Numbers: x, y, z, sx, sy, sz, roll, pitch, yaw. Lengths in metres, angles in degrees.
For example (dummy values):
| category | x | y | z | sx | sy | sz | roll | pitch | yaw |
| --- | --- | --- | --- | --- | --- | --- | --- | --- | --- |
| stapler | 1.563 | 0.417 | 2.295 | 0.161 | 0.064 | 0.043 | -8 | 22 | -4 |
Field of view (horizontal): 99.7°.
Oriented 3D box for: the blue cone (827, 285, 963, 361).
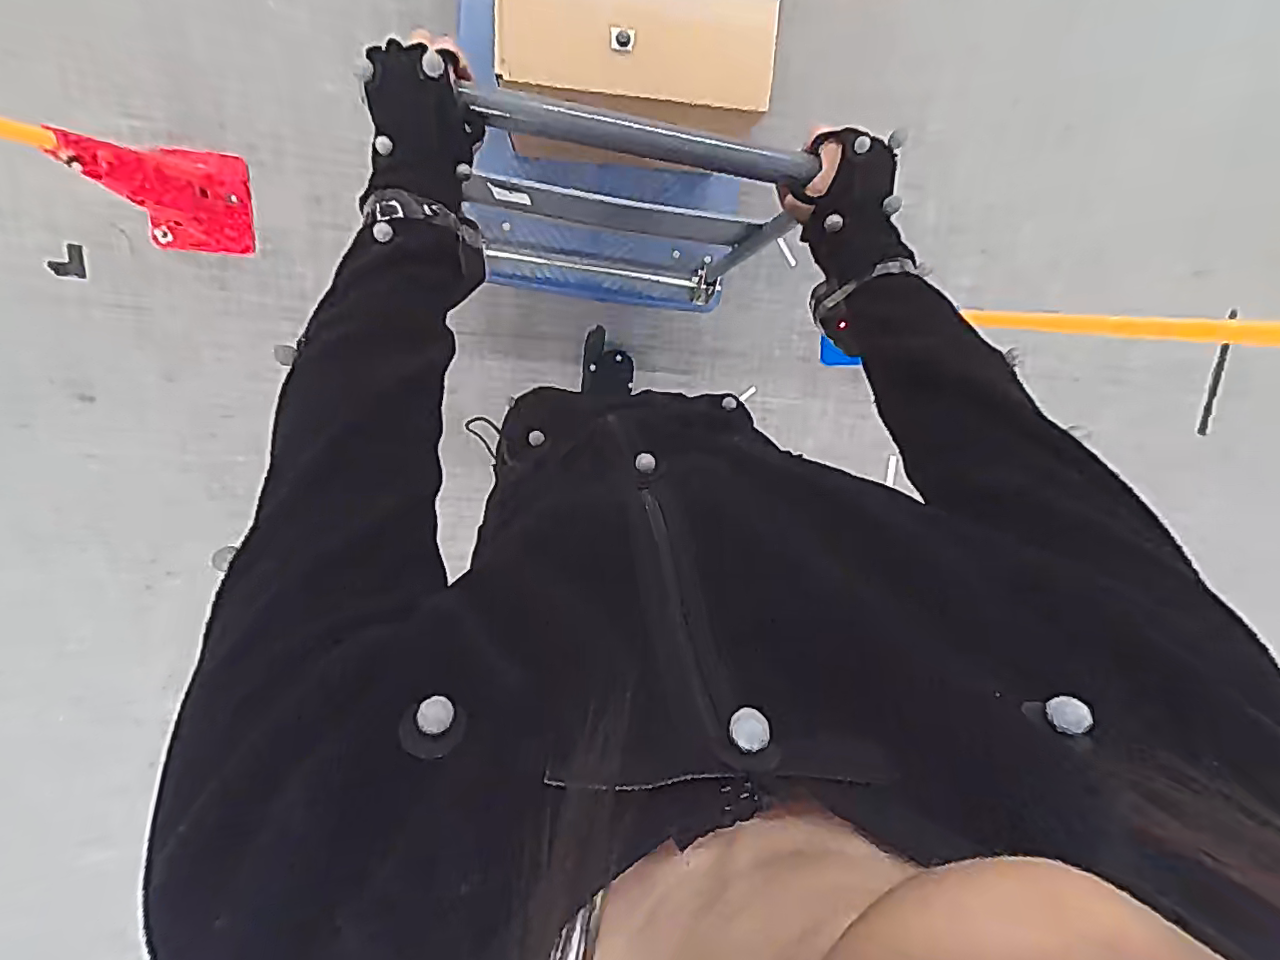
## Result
| category | x | y | z | sx | sy | sz | roll | pitch | yaw |
| --- | --- | --- | --- | --- | --- | --- | --- | --- | --- |
| blue cone | 0.602 | -0.378 | 1.258 | 0.193 | 0.380 | 0.192 | -1 | 102 | -8 |
